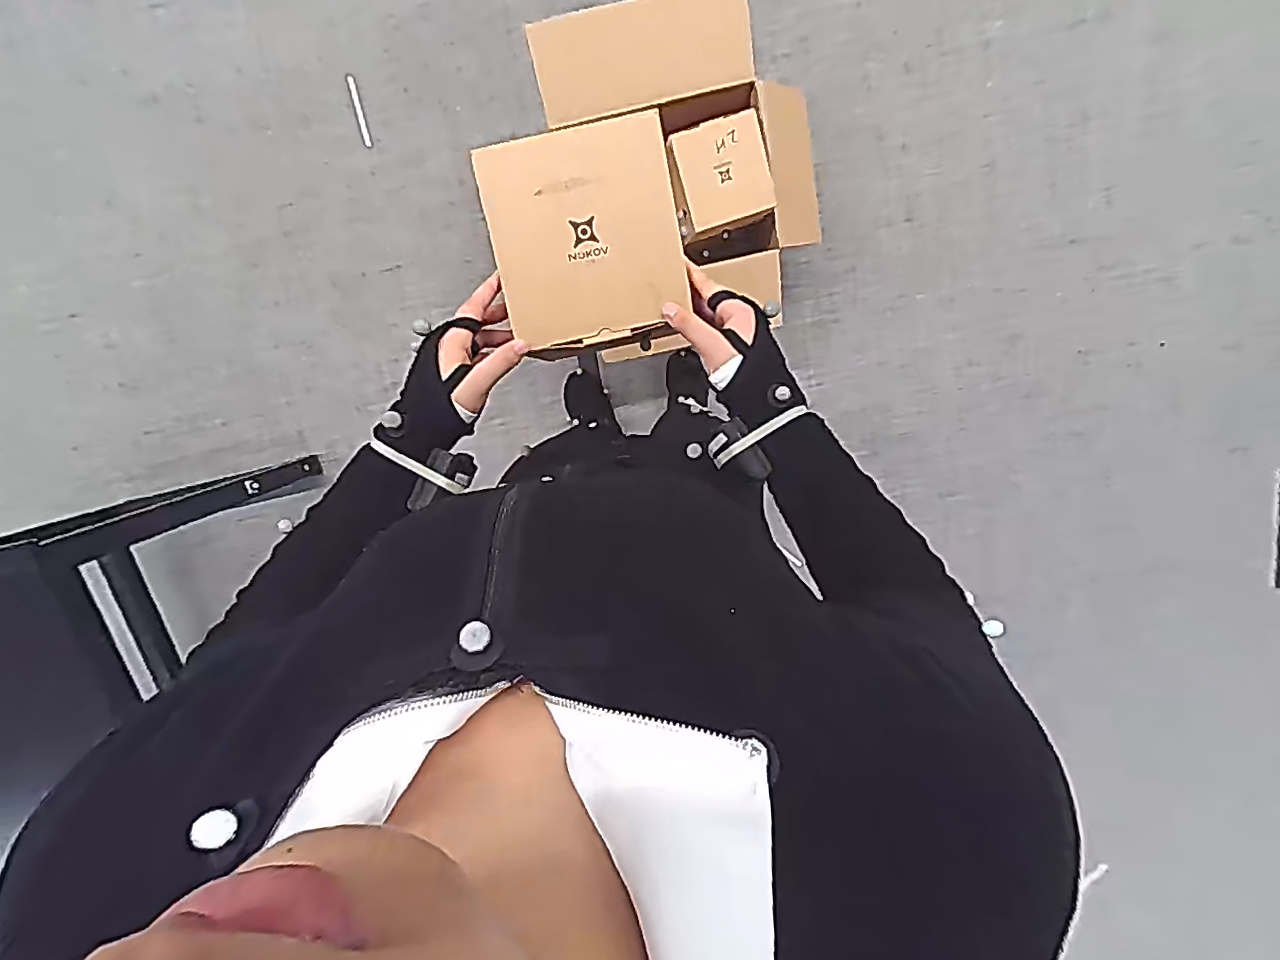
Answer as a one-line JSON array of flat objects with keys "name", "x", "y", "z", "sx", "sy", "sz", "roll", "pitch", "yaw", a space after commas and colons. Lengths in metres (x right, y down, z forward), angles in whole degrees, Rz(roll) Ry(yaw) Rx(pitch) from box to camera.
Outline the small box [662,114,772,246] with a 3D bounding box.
[{"name": "small box", "x": 0.146, "y": -0.584, "z": 1.084, "sx": 0.168, "sy": 0.176, "sz": 0.179, "roll": -18, "pitch": 103, "yaw": 0}]

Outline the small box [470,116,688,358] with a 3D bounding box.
[{"name": "small box", "x": -0.052, "y": -0.226, "z": 0.554, "sx": 0.168, "sy": 0.176, "sz": 0.179, "roll": -12, "pitch": 99, "yaw": 1}]
